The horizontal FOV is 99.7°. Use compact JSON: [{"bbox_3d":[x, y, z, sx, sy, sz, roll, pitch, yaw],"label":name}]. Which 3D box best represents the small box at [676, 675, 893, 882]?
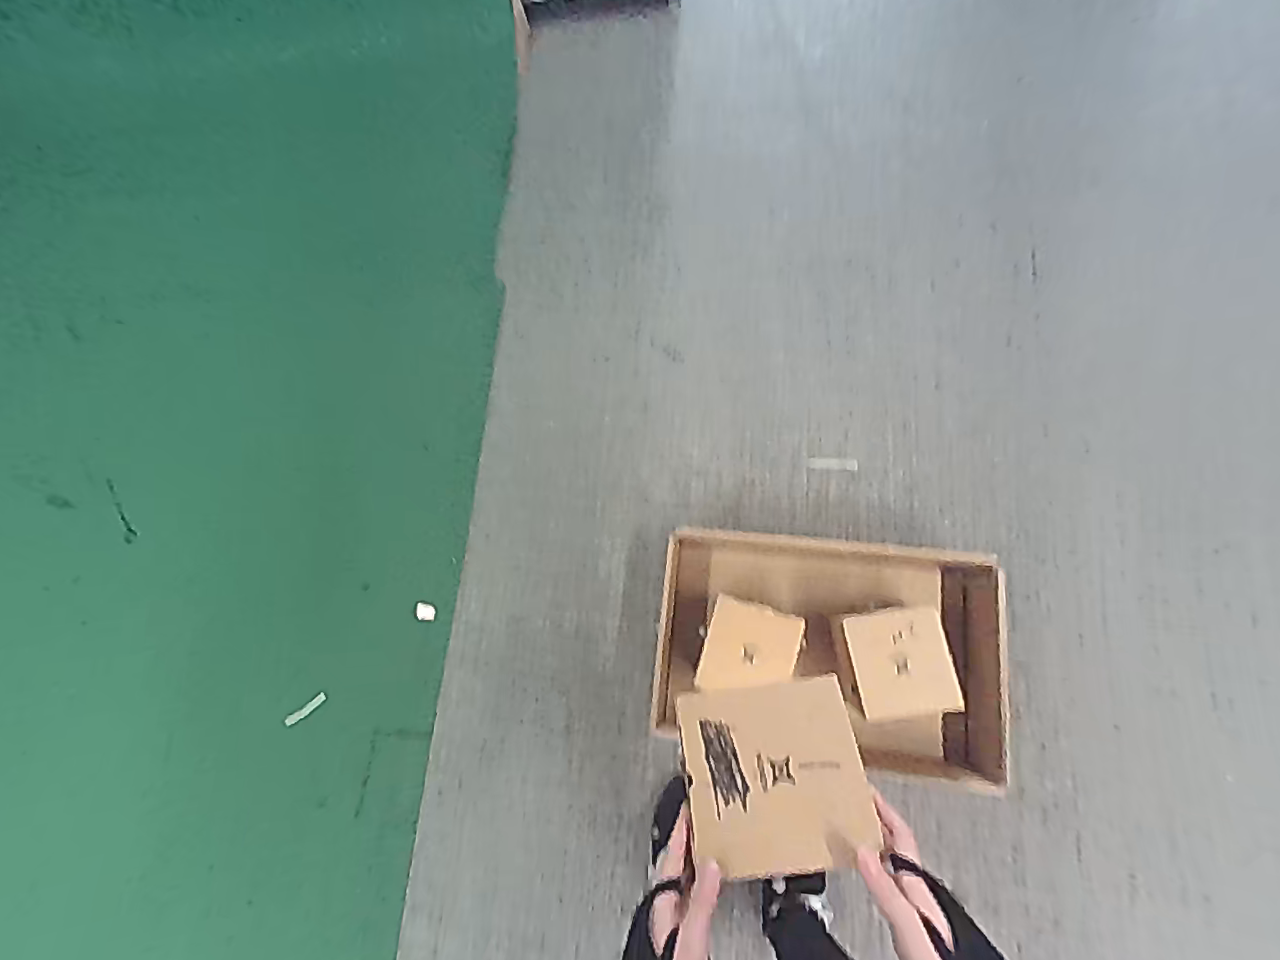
[{"bbox_3d":[0.141,0.326,0.582,0.179,0.176,0.168,-8,54,4],"label":"small box"}]

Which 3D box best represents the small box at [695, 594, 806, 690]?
[{"bbox_3d":[0.215,0.336,1.064,0.168,0.176,0.179,16,78,12],"label":"small box"}]

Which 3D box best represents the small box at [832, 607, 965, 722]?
[{"bbox_3d":[0.474,0.338,1.019,0.168,0.176,0.179,-11,75,7],"label":"small box"}]
